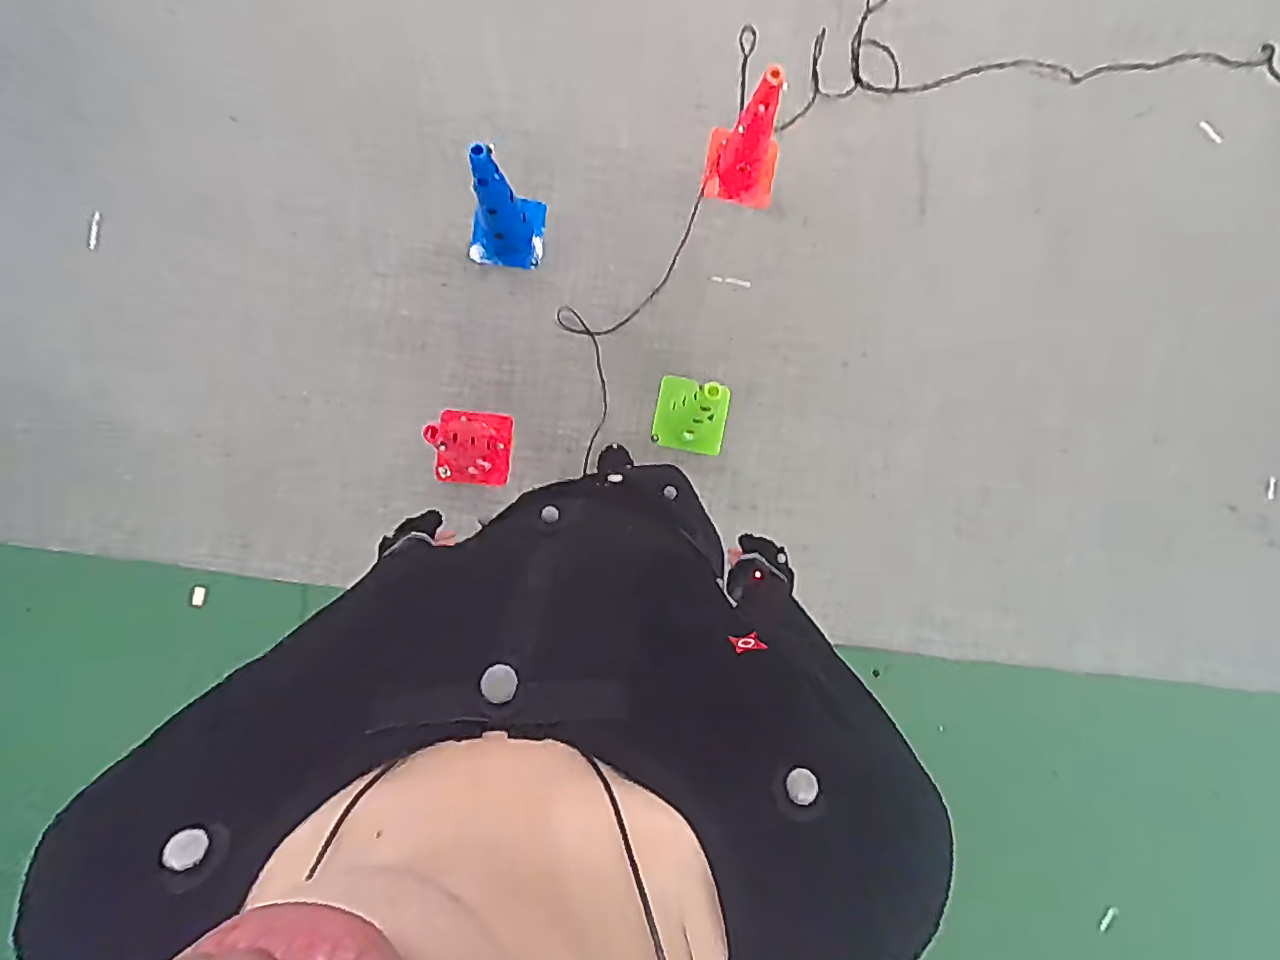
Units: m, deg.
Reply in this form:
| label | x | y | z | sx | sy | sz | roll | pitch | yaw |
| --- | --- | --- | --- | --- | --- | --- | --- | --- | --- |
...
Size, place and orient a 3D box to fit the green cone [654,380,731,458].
| label | x | y | z | sx | sy | sz | roll | pitch | yaw |
| --- | --- | --- | --- | --- | --- | --- | --- | --- | --- |
| green cone | 0.158 | -0.180 | 1.351 | 0.200 | 0.368 | 0.202 | 10 | 86 | -3 |

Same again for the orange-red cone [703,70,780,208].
| label | x | y | z | sx | sy | sz | roll | pitch | yaw |
| --- | --- | --- | --- | --- | --- | --- | --- | --- | --- |
| orange-red cone | 0.295 | -0.898 | 1.389 | 0.198 | 0.360 | 0.199 | 12 | 89 | -1 |
